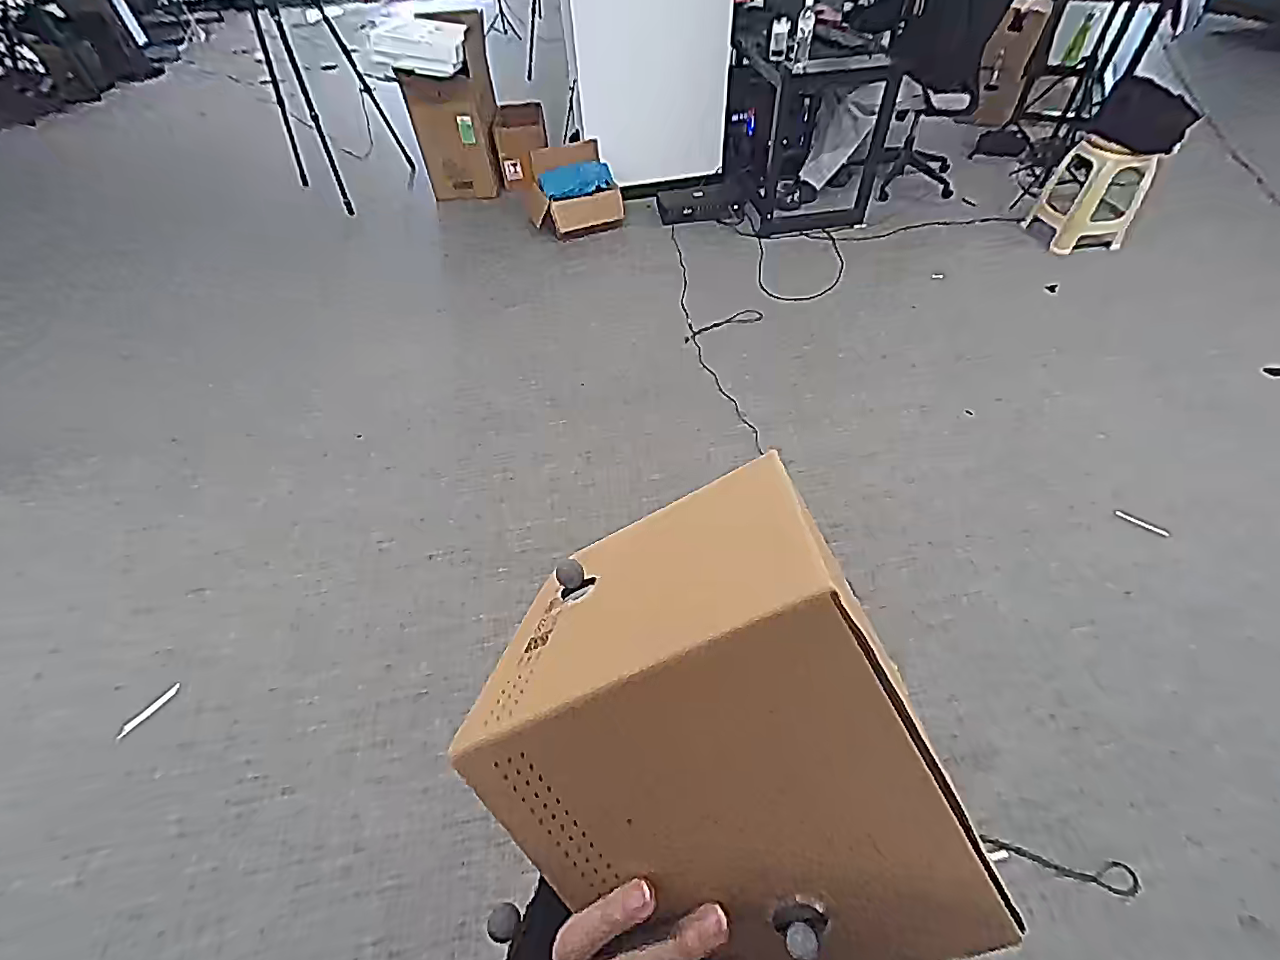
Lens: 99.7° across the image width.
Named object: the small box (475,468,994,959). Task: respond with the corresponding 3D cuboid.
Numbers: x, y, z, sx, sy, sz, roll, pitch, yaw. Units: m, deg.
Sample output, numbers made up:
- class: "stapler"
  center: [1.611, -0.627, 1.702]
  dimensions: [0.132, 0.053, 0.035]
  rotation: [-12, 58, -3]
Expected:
- class: "small box"
  center: [0.046, 0.125, 0.303]
  dimensions: [0.176, 0.179, 0.168]
  rotation: [-29, 13, 16]
